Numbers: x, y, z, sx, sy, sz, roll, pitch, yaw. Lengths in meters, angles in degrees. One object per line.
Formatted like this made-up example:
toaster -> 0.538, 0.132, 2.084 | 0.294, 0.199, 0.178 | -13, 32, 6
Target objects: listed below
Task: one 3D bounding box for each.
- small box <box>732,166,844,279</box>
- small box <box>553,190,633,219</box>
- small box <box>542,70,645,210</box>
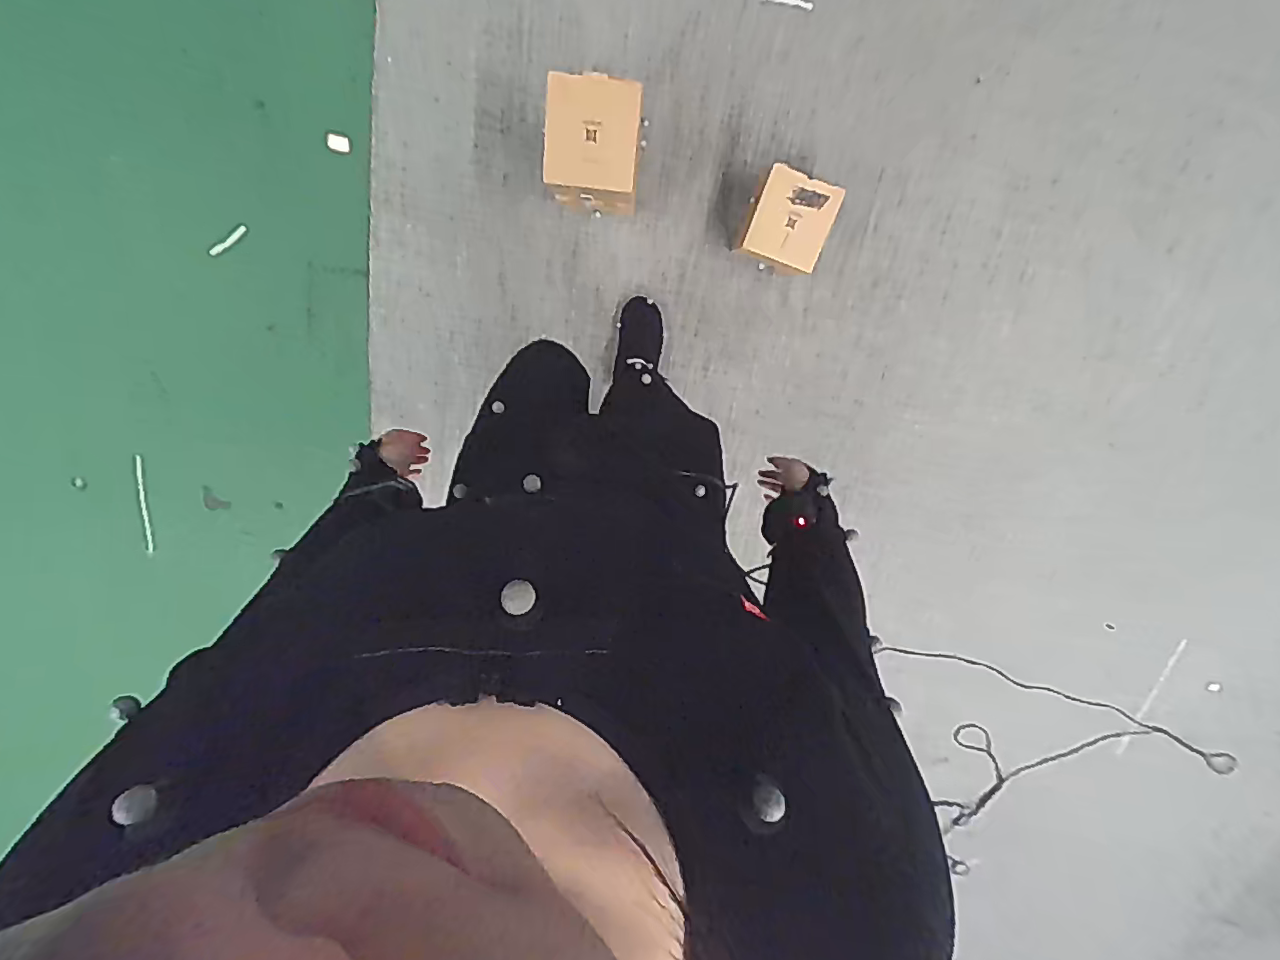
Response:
small box -> 0.320, -0.568, 1.215 | 0.168, 0.176, 0.179 | 19, 109, -6
small box -> -0.091, -0.682, 1.174 | 0.168, 0.176, 0.179 | 5, 110, -2
small box -> -0.083, -0.630, 1.023 | 0.168, 0.176, 0.179 | 8, 108, -1
